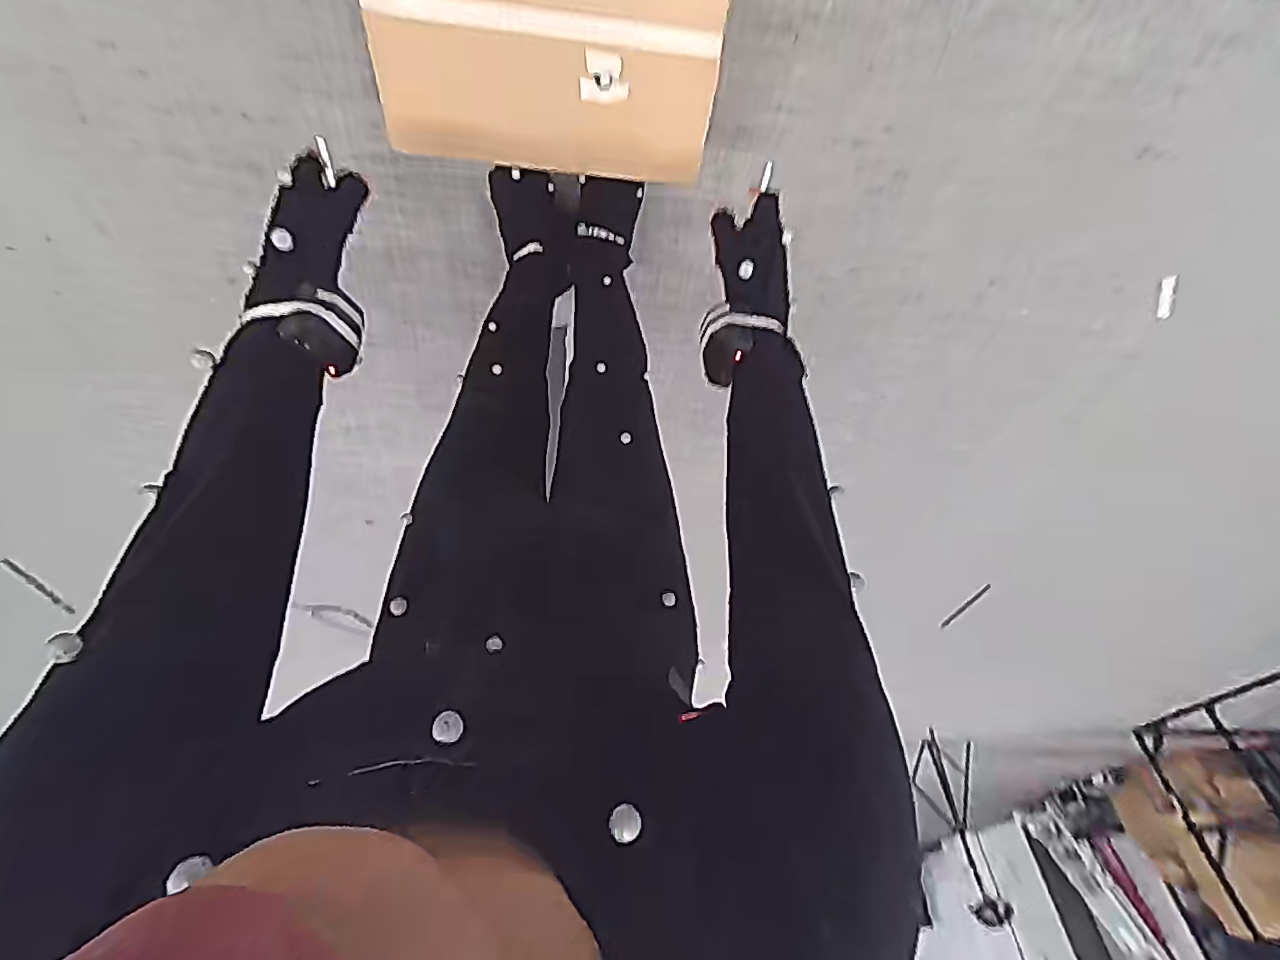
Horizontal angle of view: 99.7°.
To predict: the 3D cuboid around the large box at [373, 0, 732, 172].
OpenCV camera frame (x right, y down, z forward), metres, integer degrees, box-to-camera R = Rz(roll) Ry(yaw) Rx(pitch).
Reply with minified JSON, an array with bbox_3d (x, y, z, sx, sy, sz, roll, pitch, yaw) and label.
[{"bbox_3d":[-0.106,-0.637,0.703,0.408,0.320,0.320,1,140,-7],"label":"large box"}]
